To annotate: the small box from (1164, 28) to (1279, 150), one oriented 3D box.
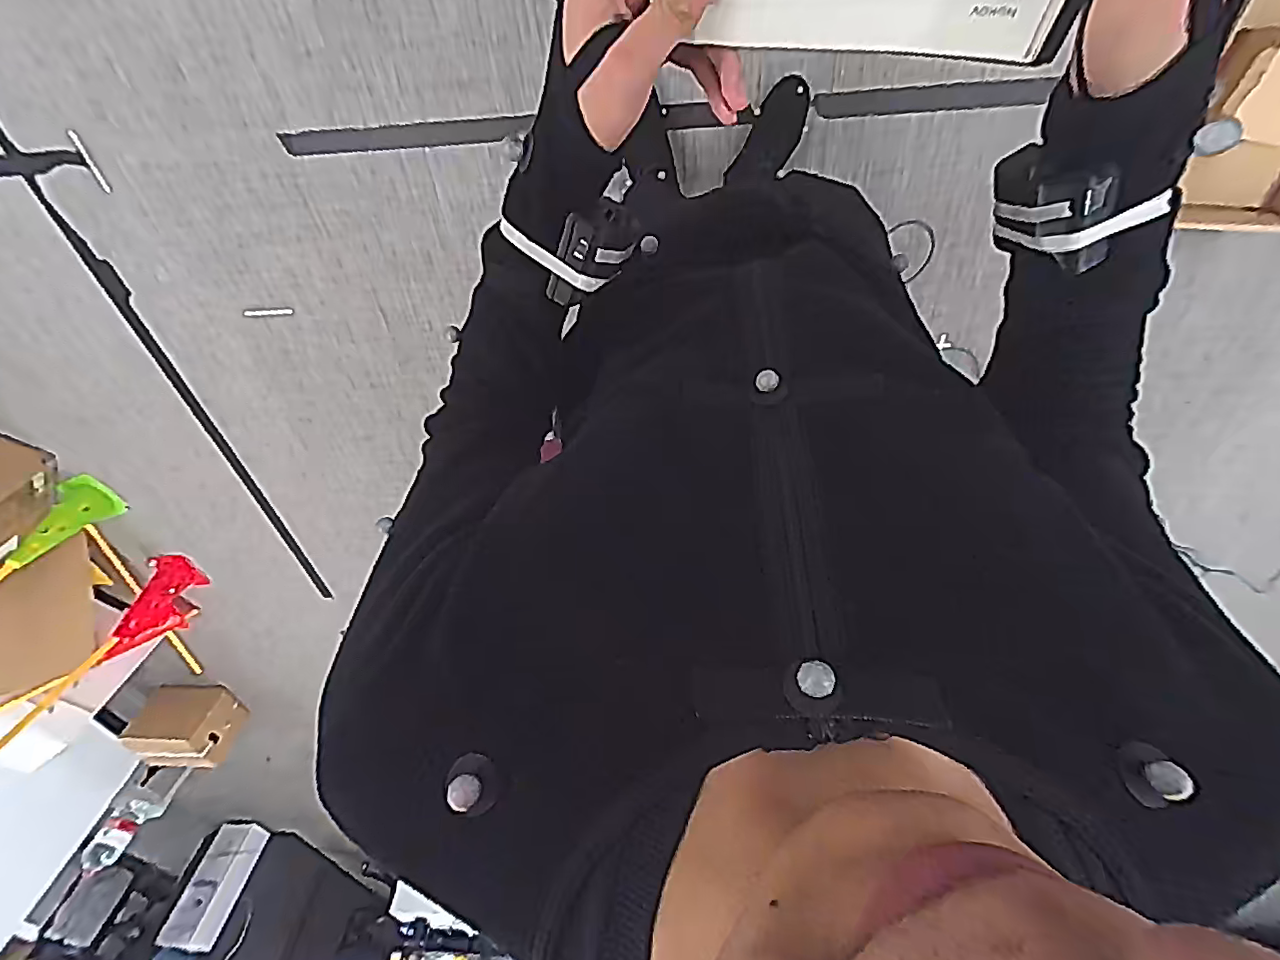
[{"bbox_3d":[1.219,-0.767,1.068,0.179,0.176,0.168,9,129,-3],"label":"small box"}]
